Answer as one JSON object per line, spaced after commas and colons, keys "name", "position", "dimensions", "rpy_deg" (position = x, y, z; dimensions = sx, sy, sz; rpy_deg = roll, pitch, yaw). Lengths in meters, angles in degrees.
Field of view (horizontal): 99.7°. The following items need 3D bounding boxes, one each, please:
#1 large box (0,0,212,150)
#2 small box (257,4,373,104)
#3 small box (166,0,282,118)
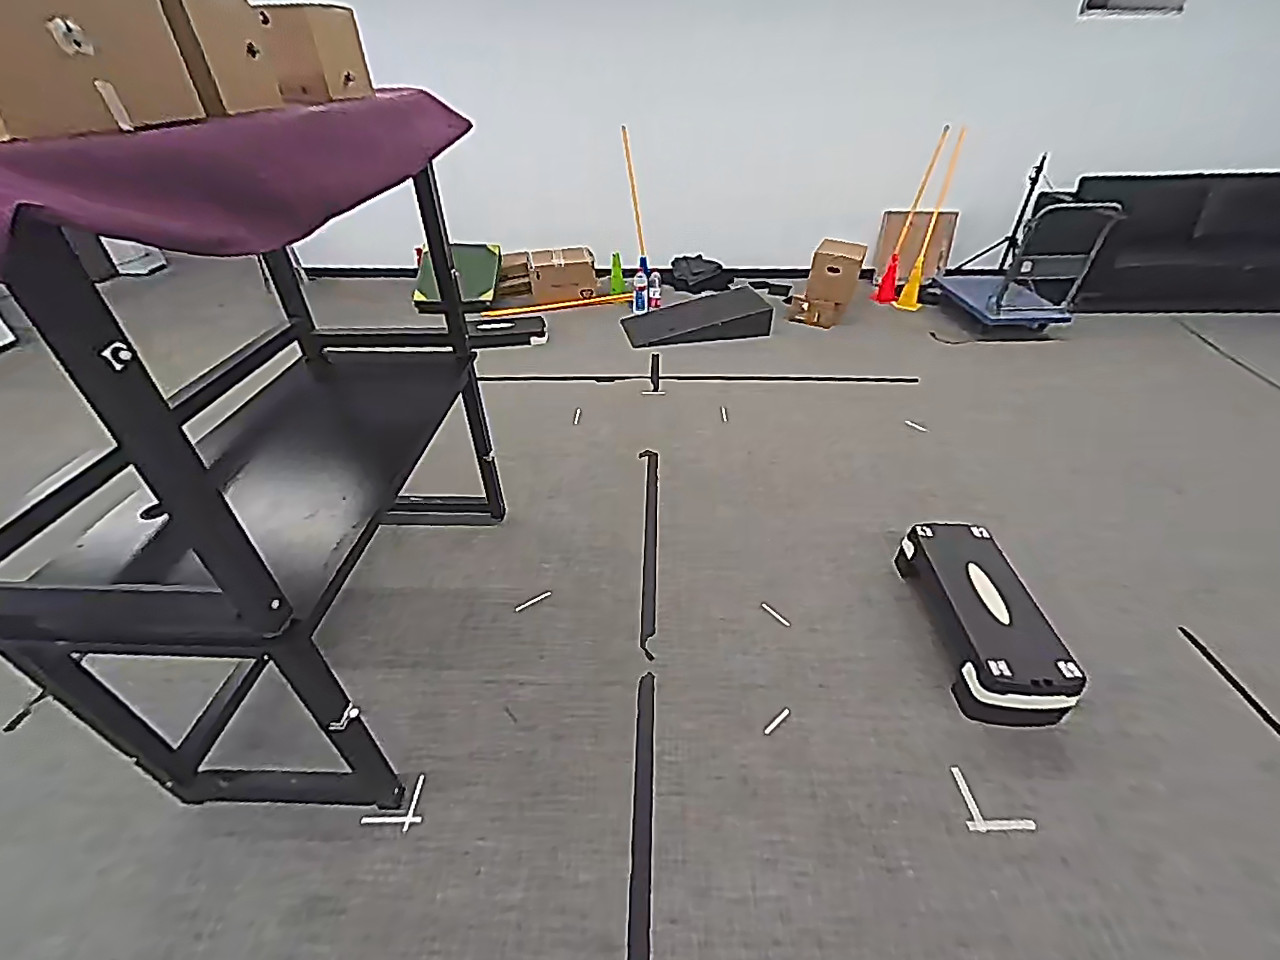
{"name": "large box", "position": [-0.839, -0.567, 0.611], "dimensions": [0.408, 0.320, 0.320], "rpy_deg": [1, 37, 3]}
{"name": "small box", "position": [-0.743, -0.973, 1.241], "dimensions": [0.168, 0.176, 0.179], "rpy_deg": [7, 38, 10]}
{"name": "small box", "position": [-0.765, -0.736, 0.939], "dimensions": [0.168, 0.176, 0.179], "rpy_deg": [0, 38, 3]}
